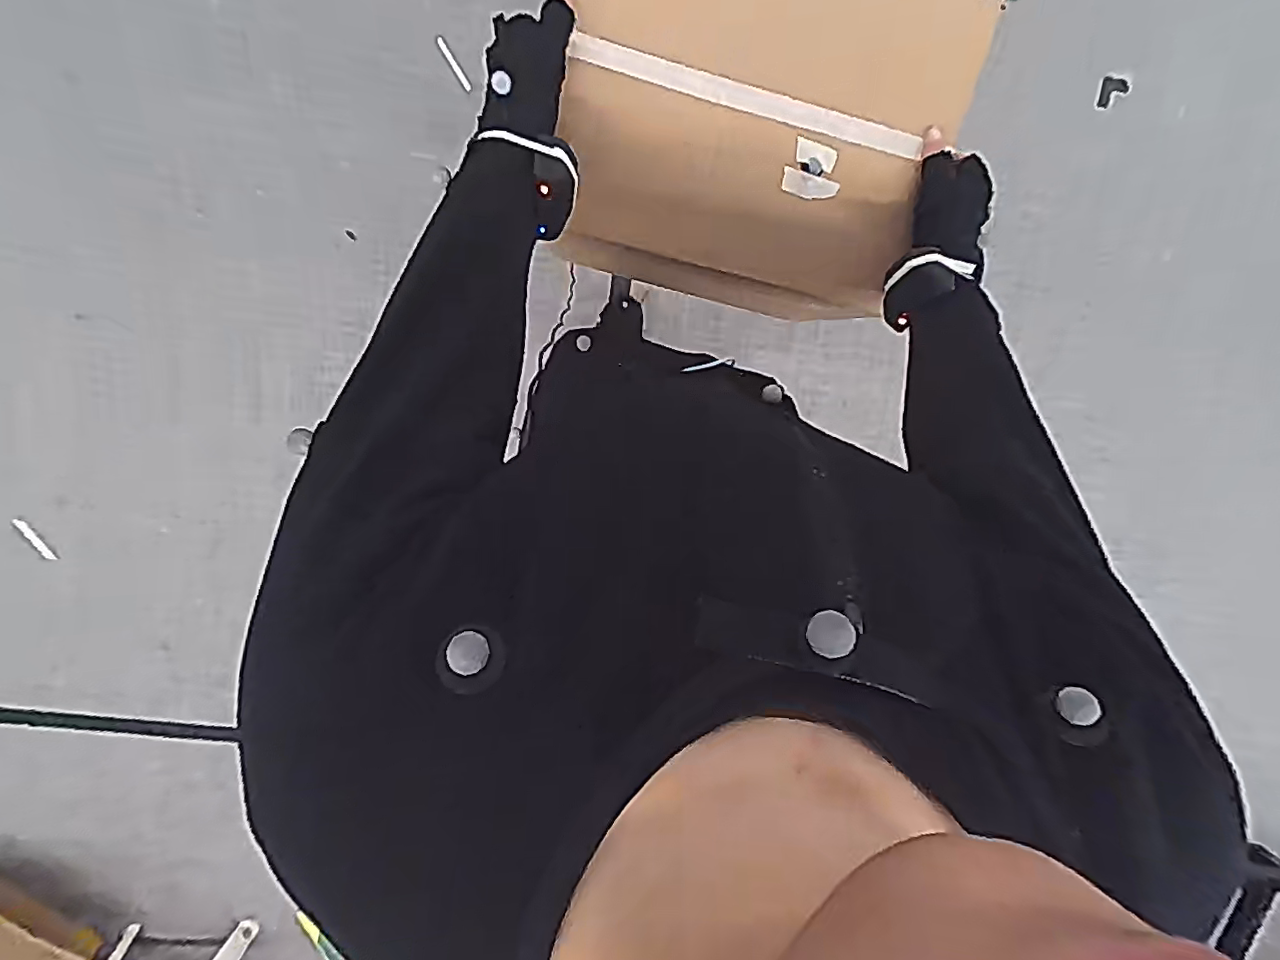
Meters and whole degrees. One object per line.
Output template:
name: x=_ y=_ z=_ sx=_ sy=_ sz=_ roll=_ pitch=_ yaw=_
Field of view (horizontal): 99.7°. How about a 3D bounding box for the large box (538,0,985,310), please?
large box: x=0.104 y=-0.419 z=0.684 sx=0.408 sy=0.320 sz=0.320 roll=12 pitch=105 yaw=-8
